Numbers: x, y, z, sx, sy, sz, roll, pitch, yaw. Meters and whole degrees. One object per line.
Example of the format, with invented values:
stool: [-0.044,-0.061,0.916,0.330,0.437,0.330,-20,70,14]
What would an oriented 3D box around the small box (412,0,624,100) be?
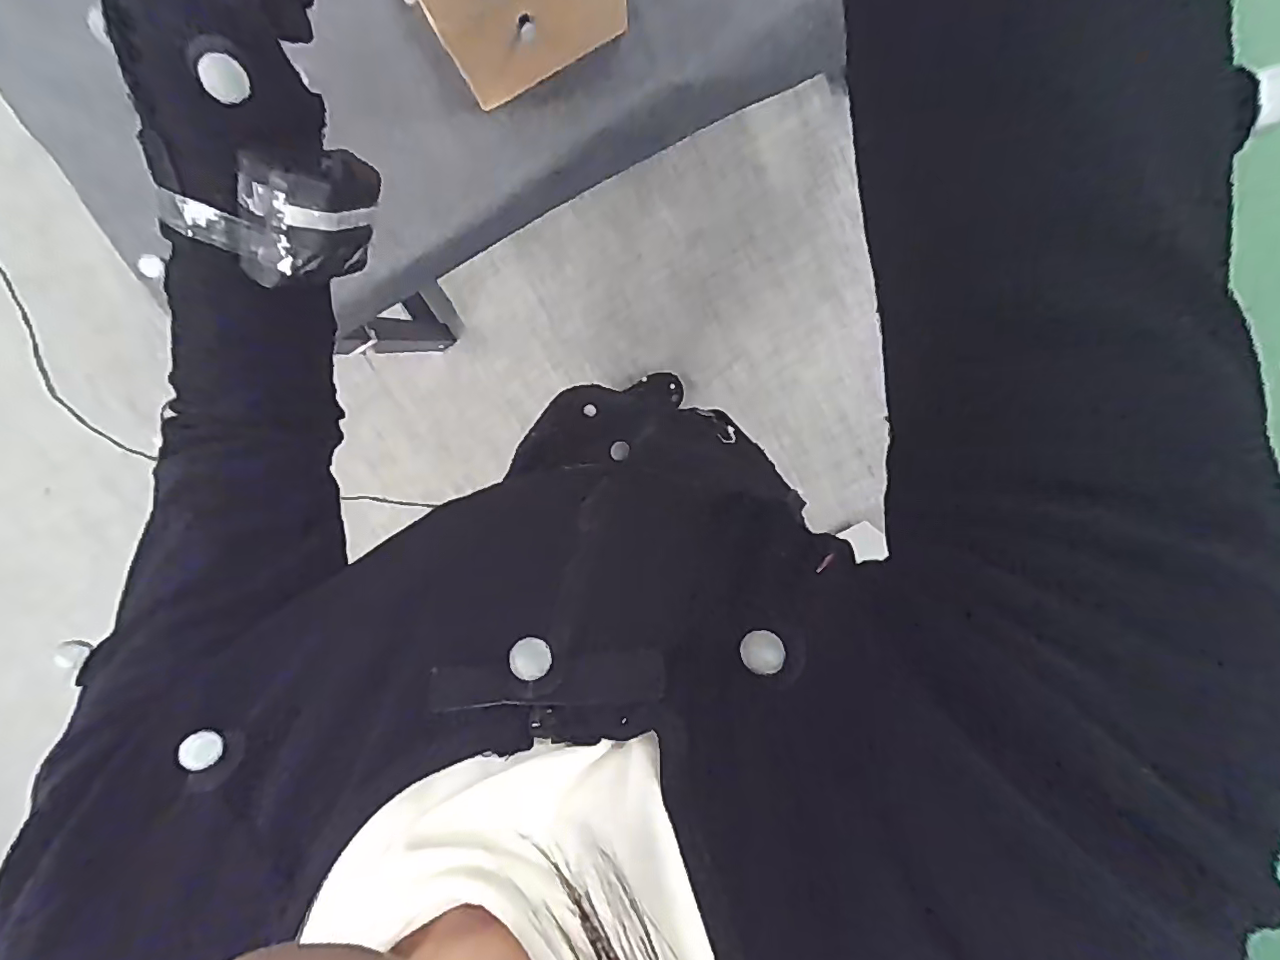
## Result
small box: [-0.127,-0.489,0.481,0.179,0.176,0.168,-26,102,8]
